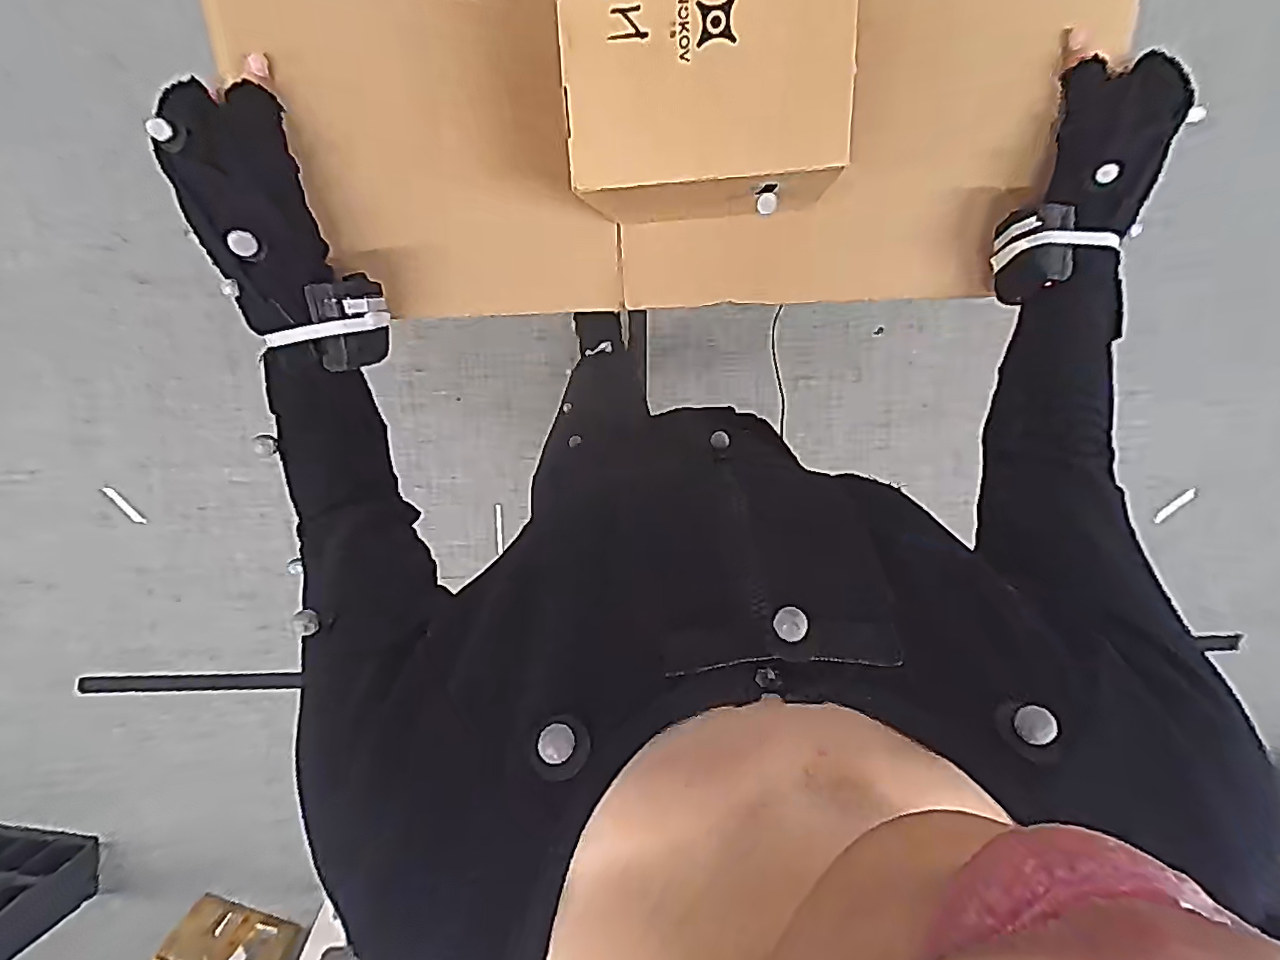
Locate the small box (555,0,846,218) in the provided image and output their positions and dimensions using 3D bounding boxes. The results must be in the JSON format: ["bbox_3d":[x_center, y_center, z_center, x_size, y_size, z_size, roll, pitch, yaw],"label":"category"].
[{"bbox_3d":[0.047,-0.299,0.400,0.179,0.176,0.168,1,108,11],"label":"small box"}]
